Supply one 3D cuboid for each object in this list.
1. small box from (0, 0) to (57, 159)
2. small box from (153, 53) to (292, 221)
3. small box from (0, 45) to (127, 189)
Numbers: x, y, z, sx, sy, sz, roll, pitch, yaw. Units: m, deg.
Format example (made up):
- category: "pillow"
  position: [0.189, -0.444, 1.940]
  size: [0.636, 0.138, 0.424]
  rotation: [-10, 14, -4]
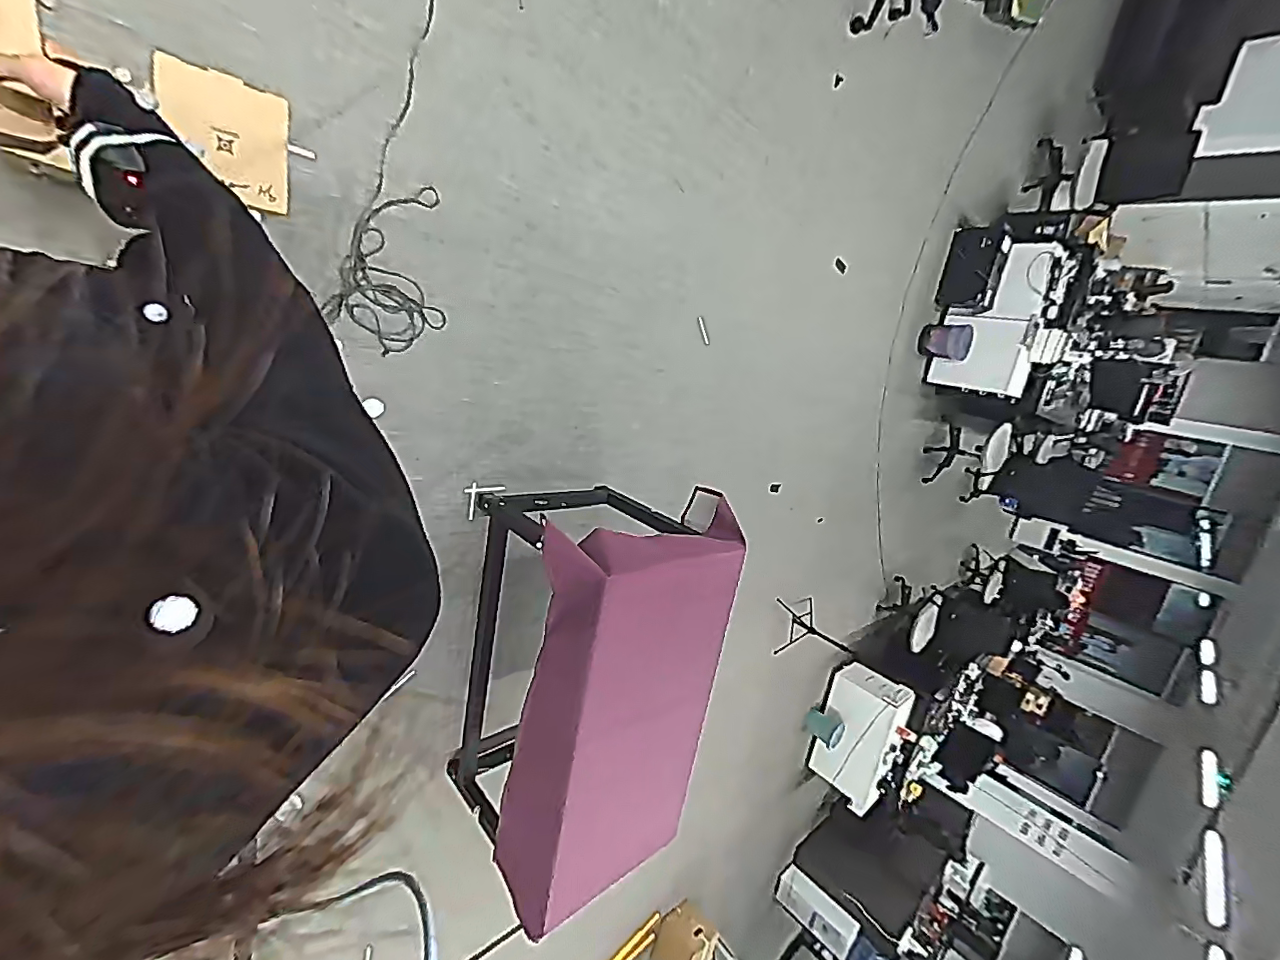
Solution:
- category: "small box"
  position: [-0.649, -0.402, 0.472]
  size: [0.168, 0.176, 0.179]
  rotation: [-11, 118, -47]
- category: "small box"
  position: [-0.685, -0.543, 0.887]
  size: [0.168, 0.176, 0.179]
  rotation: [-2, 108, -42]
- category: "small box"
  position: [-0.944, -0.584, 0.862]
  size: [0.179, 0.176, 0.168]
  rotation: [5, 104, -43]
